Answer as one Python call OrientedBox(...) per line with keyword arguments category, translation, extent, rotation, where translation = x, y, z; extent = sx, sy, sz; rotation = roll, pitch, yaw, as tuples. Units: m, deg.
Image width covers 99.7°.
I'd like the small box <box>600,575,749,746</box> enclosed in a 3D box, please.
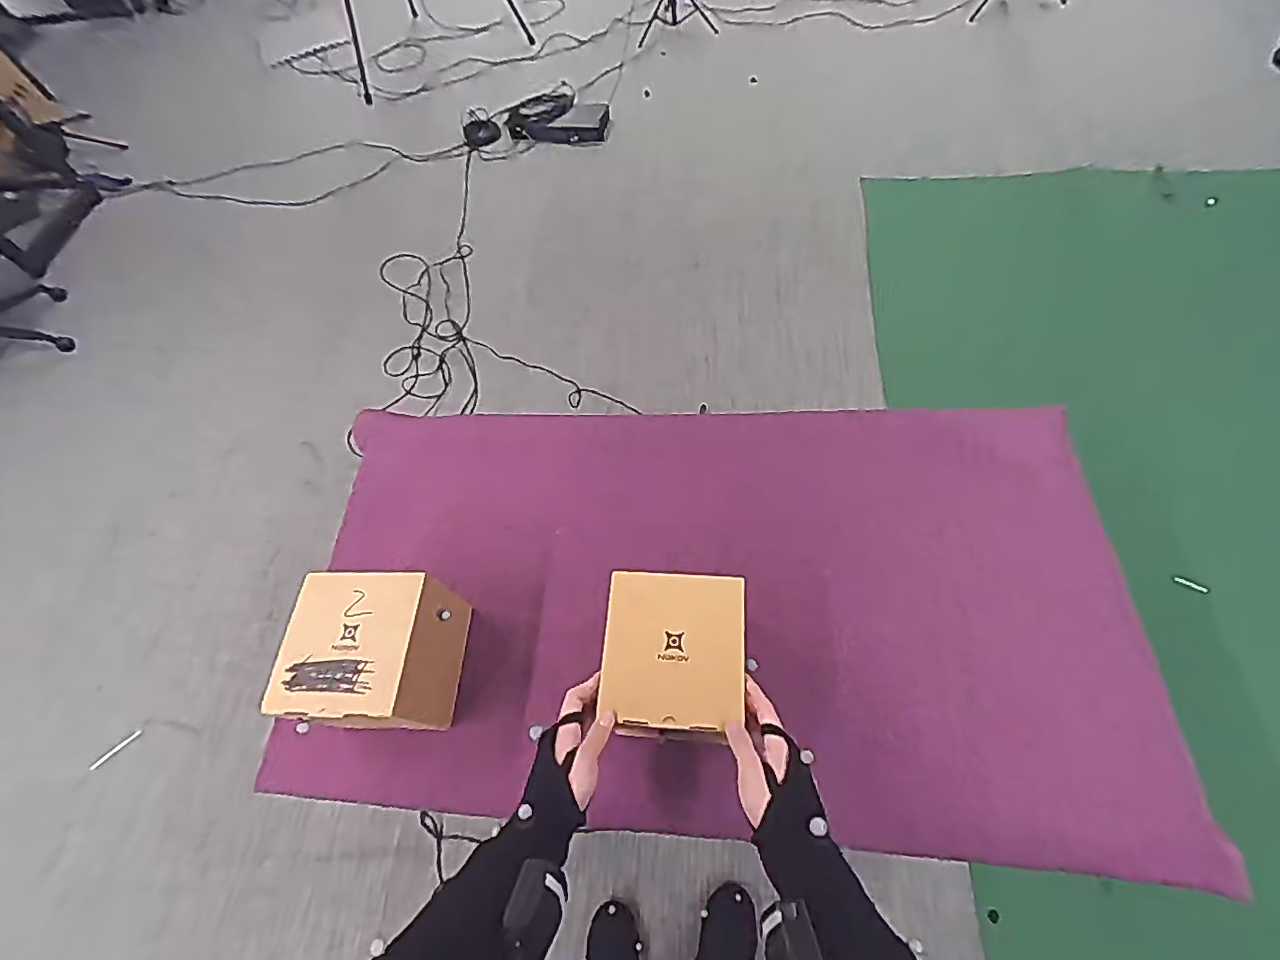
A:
OrientedBox(category="small box", translation=(0.049, 0.236, 0.696), extent=(0.168, 0.176, 0.179), rotation=(2, 62, 6))
